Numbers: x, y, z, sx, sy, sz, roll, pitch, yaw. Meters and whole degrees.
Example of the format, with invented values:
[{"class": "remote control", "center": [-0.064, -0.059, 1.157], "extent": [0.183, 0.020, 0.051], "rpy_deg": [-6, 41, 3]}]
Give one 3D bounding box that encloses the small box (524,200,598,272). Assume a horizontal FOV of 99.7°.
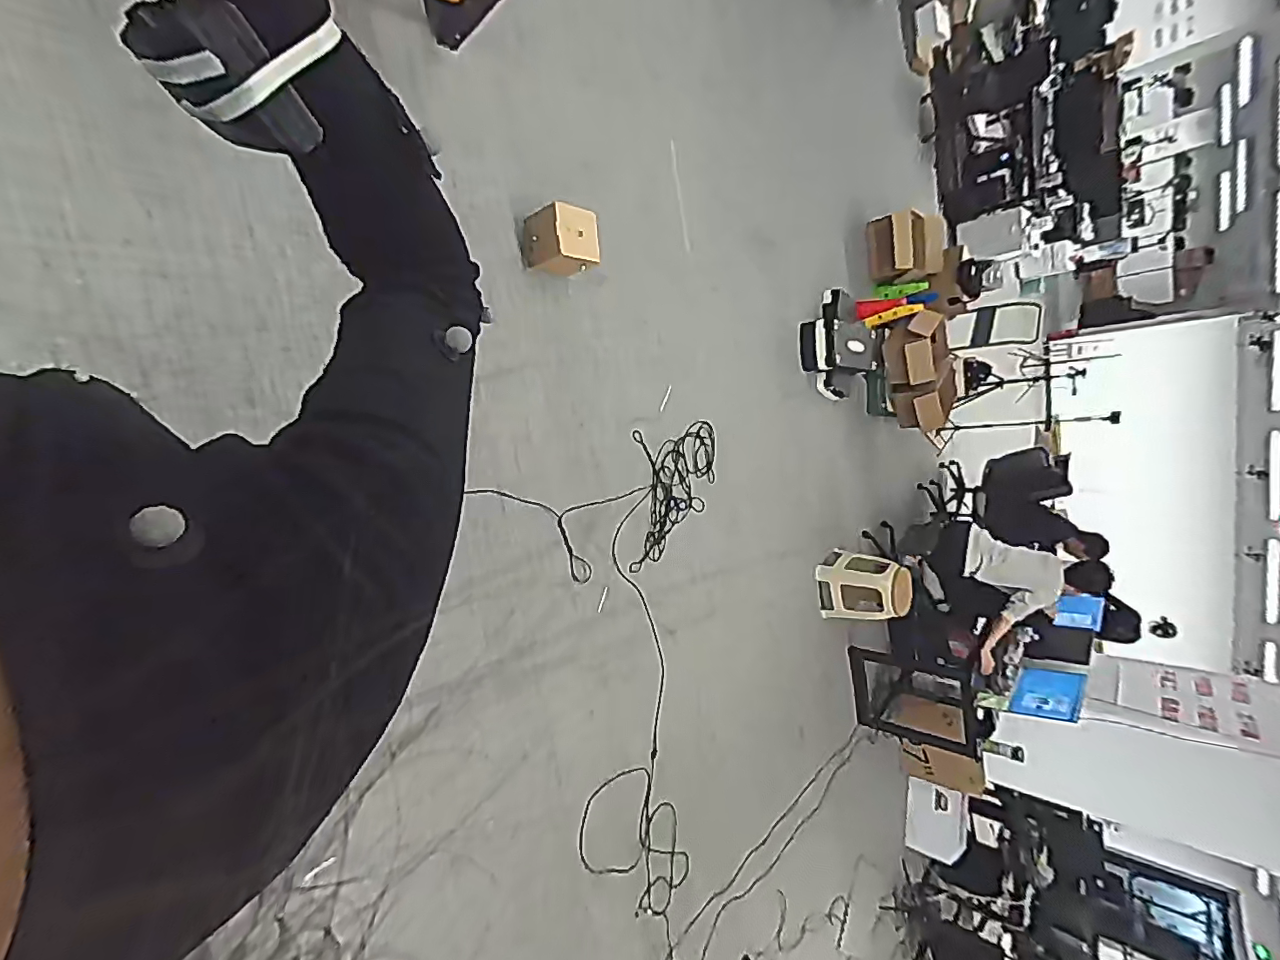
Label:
[{"class": "small box", "center": [-0.265, -0.811, 1.819], "extent": [0.179, 0.176, 0.168], "rpy_deg": [-11, 97, -46]}]
